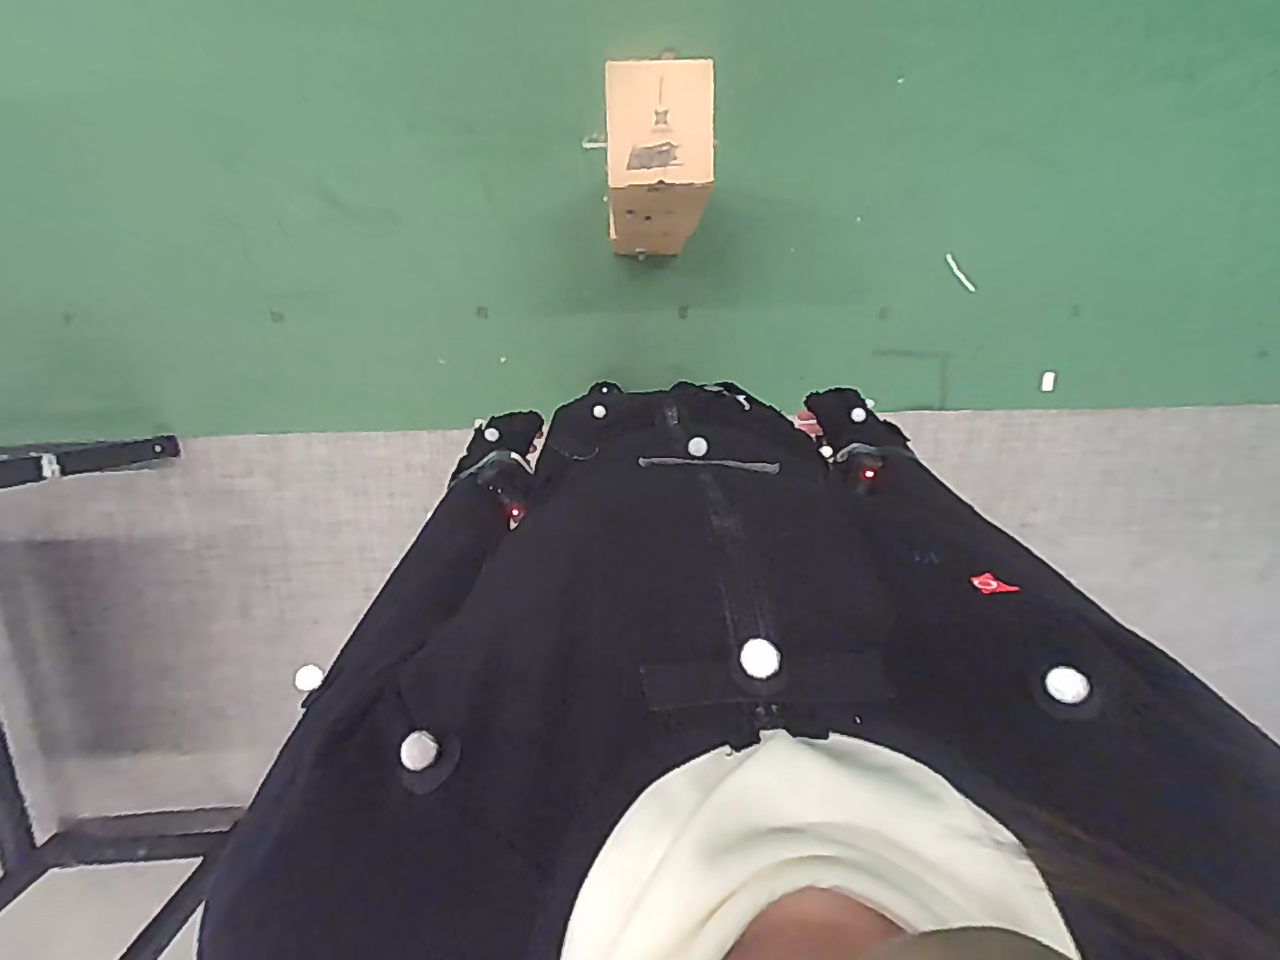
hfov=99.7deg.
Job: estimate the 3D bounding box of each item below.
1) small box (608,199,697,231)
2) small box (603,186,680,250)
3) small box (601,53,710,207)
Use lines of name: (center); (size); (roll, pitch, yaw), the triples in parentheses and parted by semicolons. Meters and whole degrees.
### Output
small box: (0.020, -0.601, 1.058); (0.168, 0.176, 0.179); (-1, 101, -1)
small box: (0.005, -0.625, 1.201); (0.168, 0.176, 0.179); (2, 102, -1)
small box: (0.022, -0.566, 0.898); (0.168, 0.176, 0.179); (-1, 101, -2)
